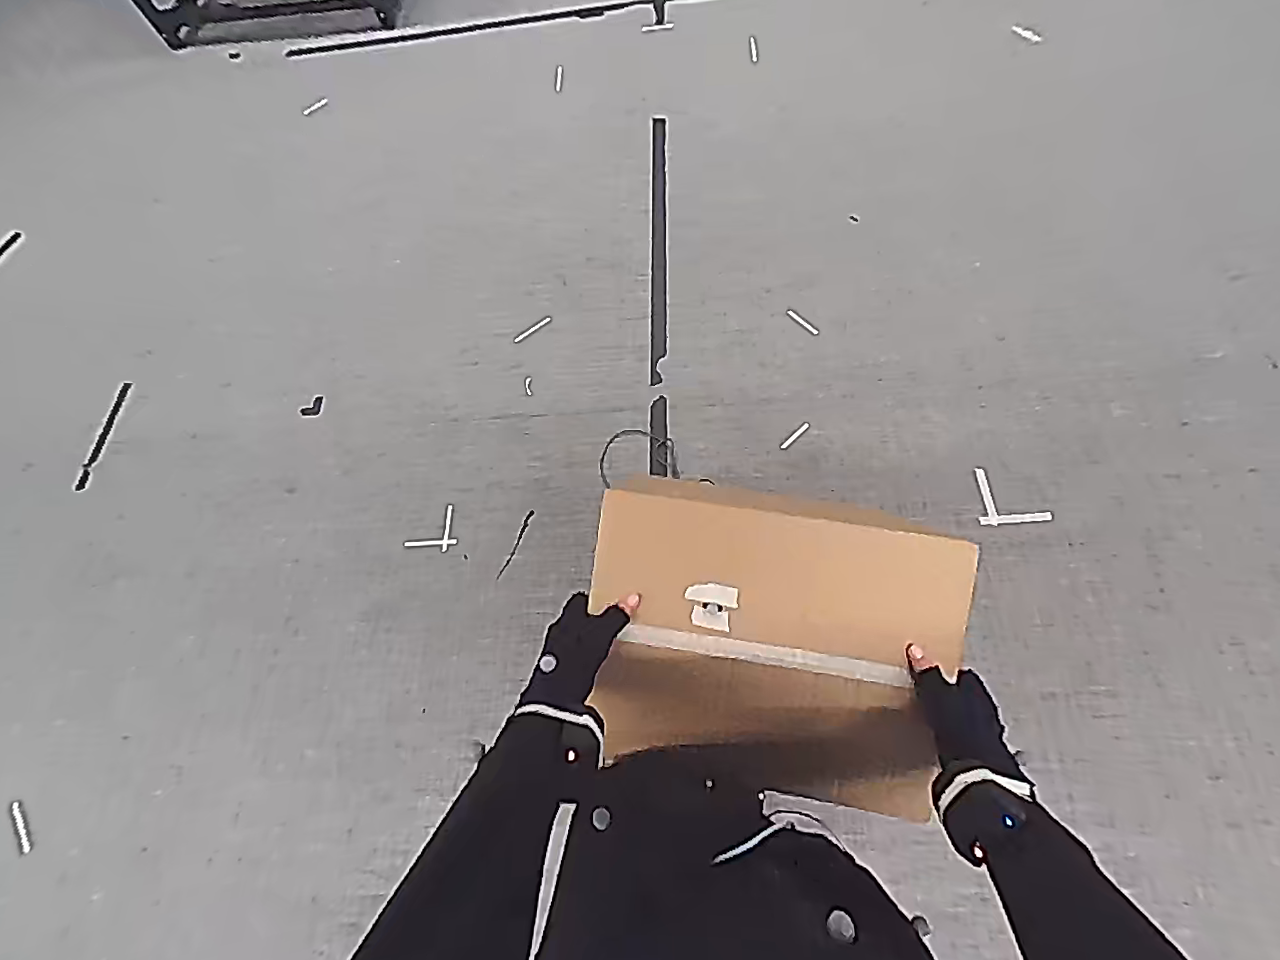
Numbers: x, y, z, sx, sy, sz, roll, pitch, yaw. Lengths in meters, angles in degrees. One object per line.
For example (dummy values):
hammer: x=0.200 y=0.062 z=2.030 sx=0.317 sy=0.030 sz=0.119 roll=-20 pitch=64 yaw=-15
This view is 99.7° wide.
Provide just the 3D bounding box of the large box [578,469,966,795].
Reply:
large box: x=0.159 y=0.167 z=0.761 sx=0.408 sy=0.320 sz=0.320 roll=9 pitch=94 yaw=7
